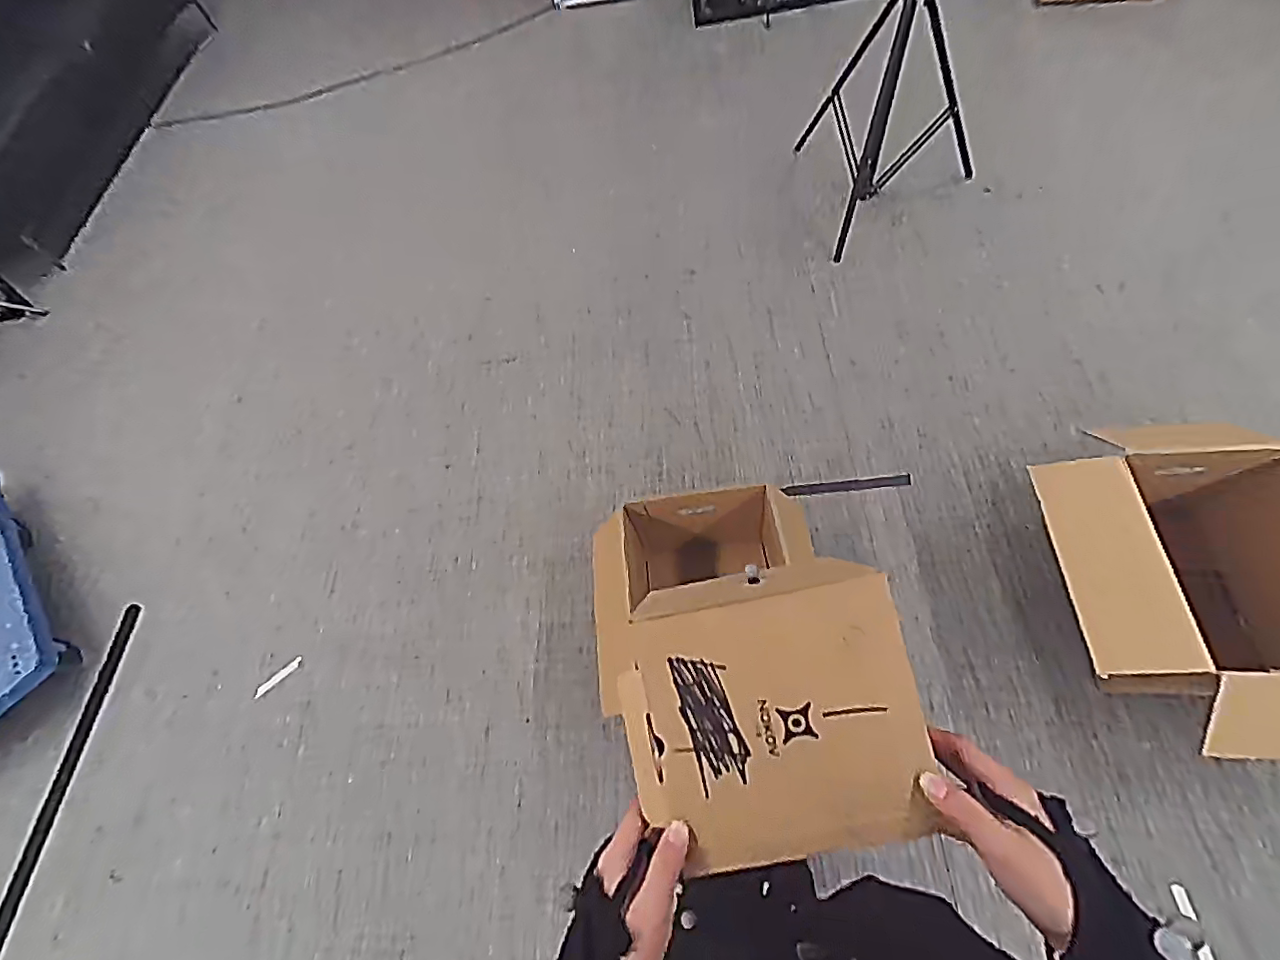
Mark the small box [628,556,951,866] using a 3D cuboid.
[{"bbox_3d":[0.100,0.158,0.426,0.179,0.176,0.168,-12,84,4],"label":"small box"}]
